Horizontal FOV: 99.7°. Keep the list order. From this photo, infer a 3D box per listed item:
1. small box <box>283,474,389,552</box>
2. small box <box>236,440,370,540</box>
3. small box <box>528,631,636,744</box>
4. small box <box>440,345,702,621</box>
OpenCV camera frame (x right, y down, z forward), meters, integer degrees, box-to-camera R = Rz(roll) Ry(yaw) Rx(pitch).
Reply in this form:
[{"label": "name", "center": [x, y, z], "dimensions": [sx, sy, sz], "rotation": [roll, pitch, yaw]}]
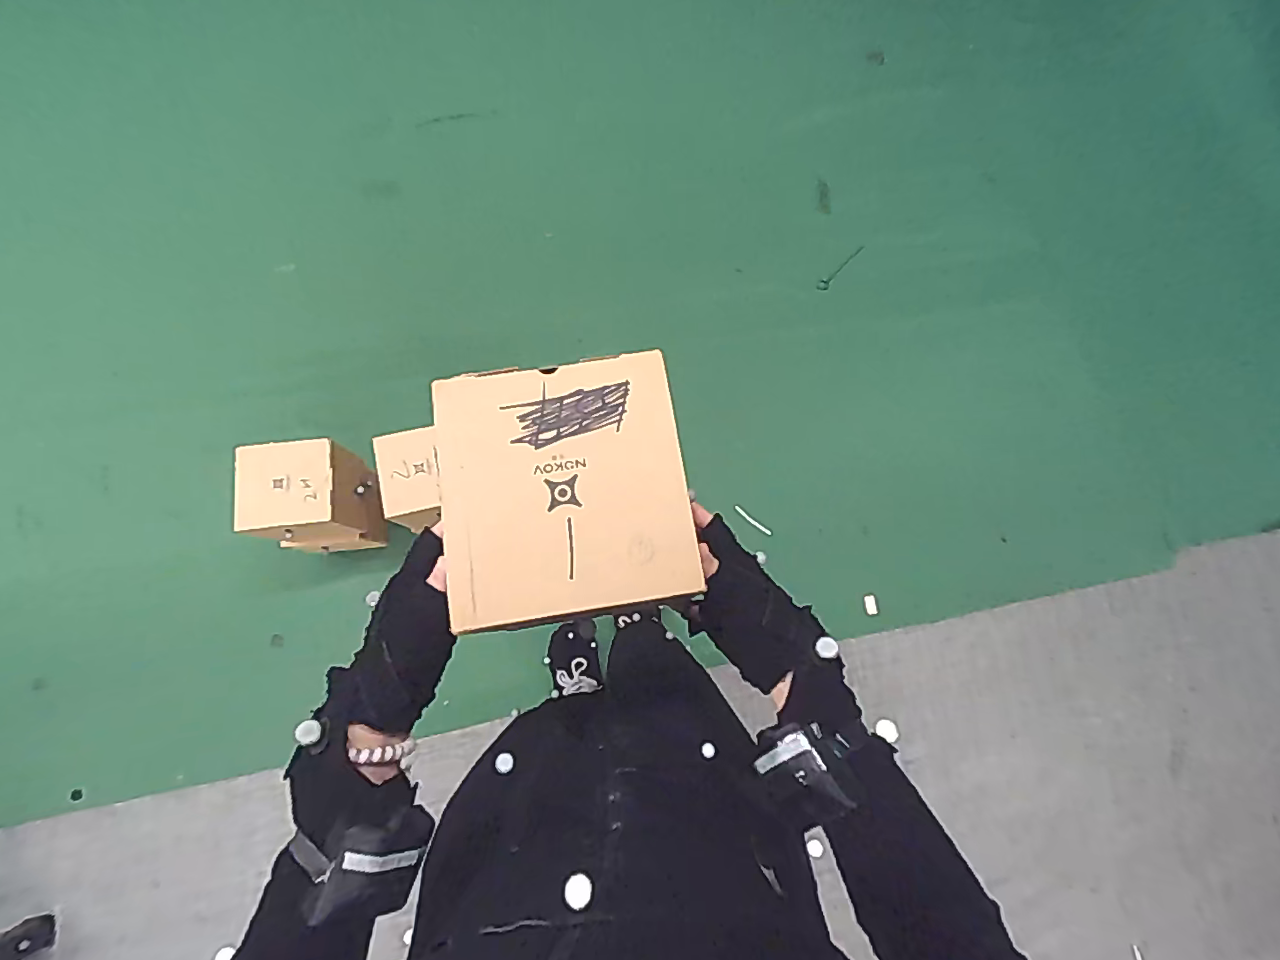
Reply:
[{"label": "small box", "center": [-0.701, 0.073, 1.265], "dimensions": [0.168, 0.176, 0.179], "rotation": [-5, 77, -6]}, {"label": "small box", "center": [-0.680, 0.026, 1.108], "dimensions": [0.179, 0.176, 0.168], "rotation": [-6, 78, -6]}, {"label": "small box", "center": [-0.136, 0.471, 1.247], "dimensions": [0.179, 0.176, 0.168], "rotation": [26, 90, 16]}, {"label": "small box", "center": [-0.053, 0.015, 0.445], "dimensions": [0.168, 0.176, 0.179], "rotation": [-8, 75, -3]}]
